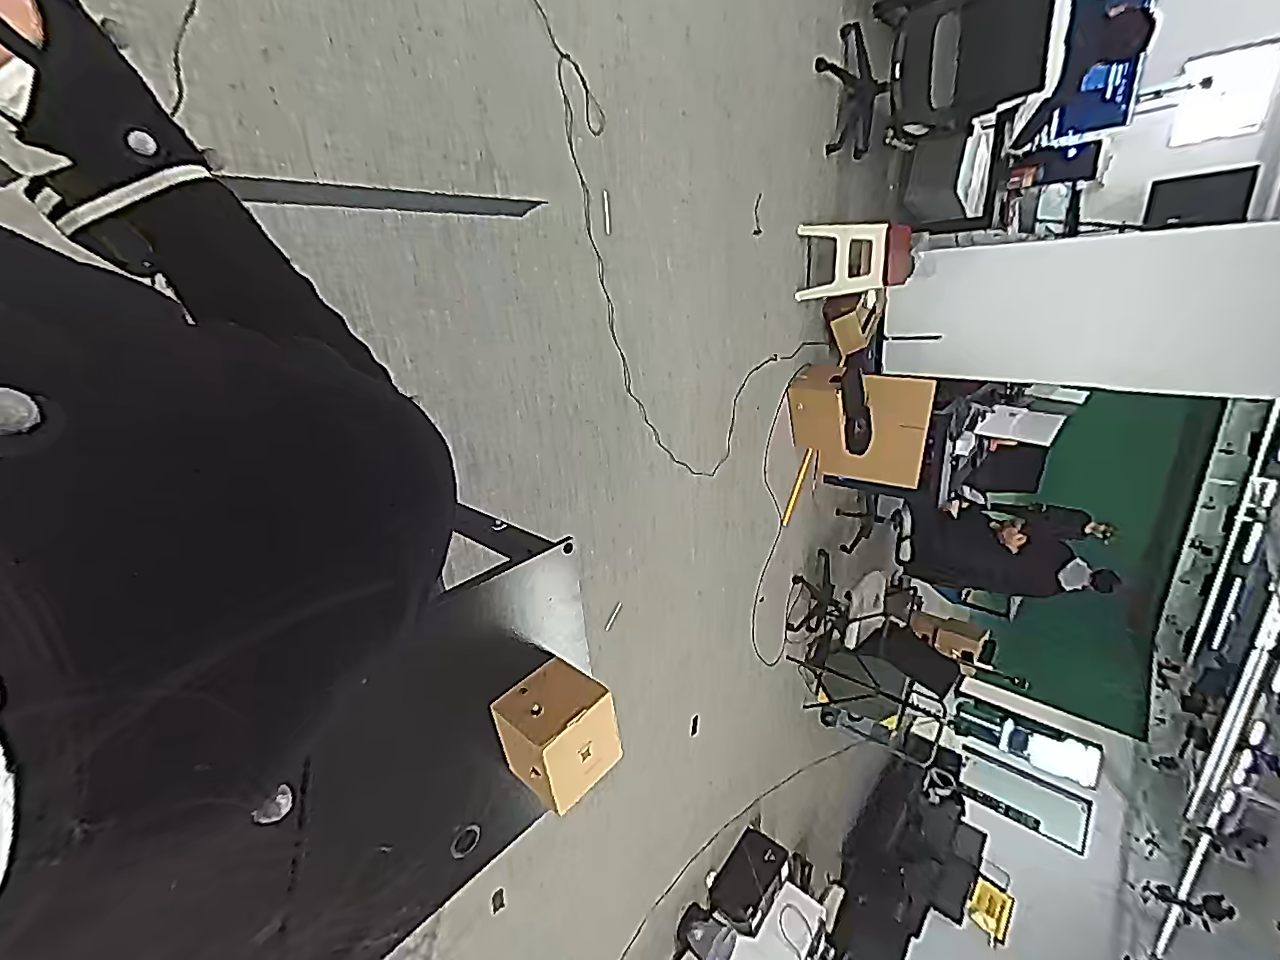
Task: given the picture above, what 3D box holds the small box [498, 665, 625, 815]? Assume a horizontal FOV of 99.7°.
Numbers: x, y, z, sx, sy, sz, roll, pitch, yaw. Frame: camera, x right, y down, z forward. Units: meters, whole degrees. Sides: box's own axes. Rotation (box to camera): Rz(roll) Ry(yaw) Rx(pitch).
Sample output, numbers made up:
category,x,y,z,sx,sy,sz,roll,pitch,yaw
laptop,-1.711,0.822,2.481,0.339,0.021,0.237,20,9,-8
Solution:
category,x,y,z,sx,sy,sz,roll,pitch,yaw
small box,-0.153,0.488,1.051,0.168,0.176,0.179,-29,122,-39
